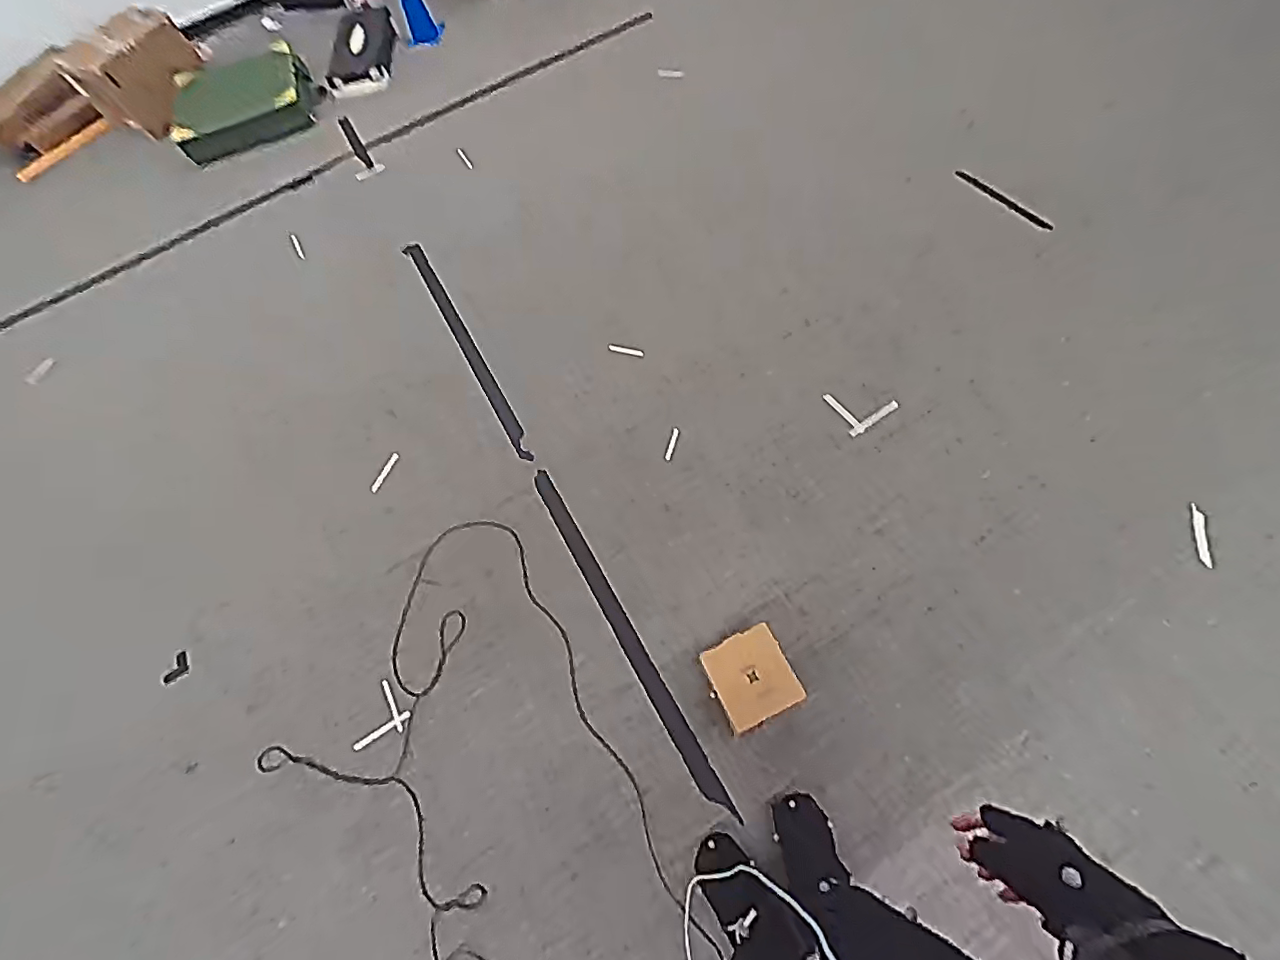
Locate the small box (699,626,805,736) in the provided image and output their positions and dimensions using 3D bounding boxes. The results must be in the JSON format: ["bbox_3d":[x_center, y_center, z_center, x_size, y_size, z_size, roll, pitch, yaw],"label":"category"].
[{"bbox_3d":[0.246,0.460,1.226,0.168,0.176,0.179,-26,63,-4],"label":"small box"}]
